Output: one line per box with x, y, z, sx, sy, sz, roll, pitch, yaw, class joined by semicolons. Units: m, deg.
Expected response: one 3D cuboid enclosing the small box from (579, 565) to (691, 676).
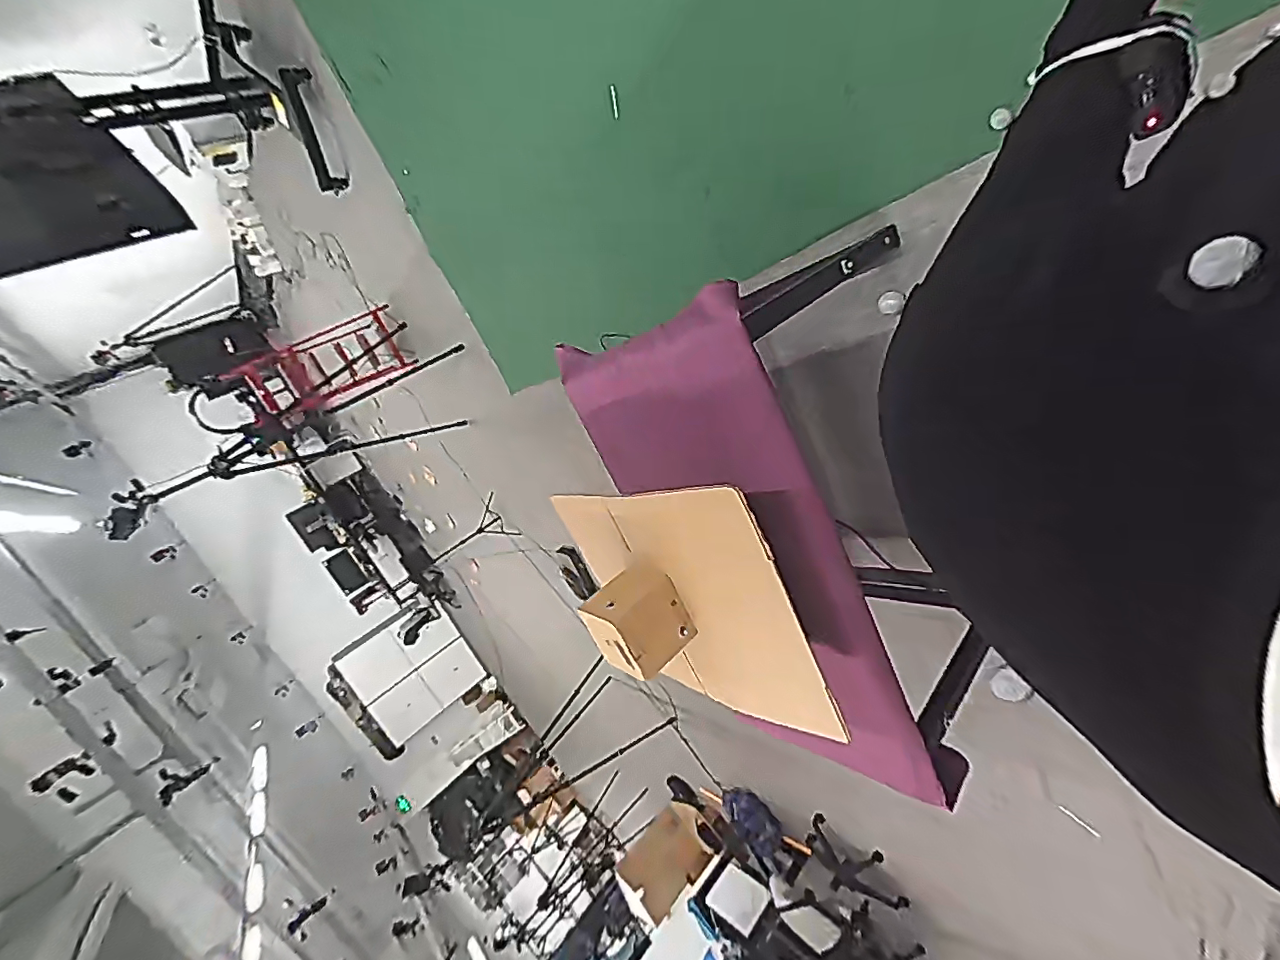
-0.004;0.315;1.251;0.179;0.176;0.168;-1;119;57;small box
